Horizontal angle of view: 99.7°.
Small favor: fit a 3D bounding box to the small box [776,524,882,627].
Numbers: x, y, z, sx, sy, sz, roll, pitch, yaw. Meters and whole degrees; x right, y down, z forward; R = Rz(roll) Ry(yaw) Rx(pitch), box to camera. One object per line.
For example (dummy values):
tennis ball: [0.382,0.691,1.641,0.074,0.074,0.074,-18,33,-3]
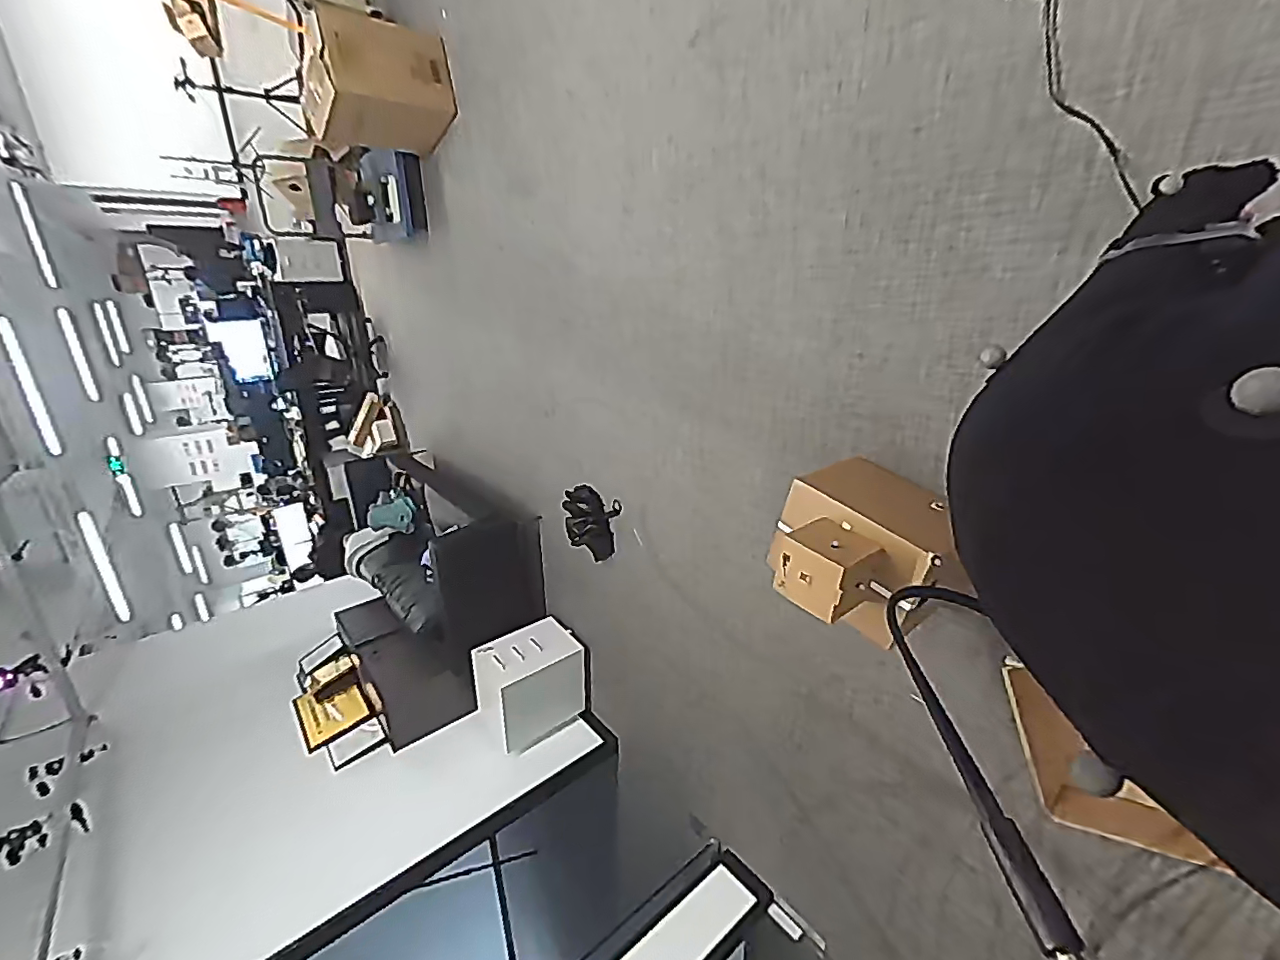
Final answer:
small box: [0.474,0.228,1.356,0.179,0.176,0.168,30,125,43]
